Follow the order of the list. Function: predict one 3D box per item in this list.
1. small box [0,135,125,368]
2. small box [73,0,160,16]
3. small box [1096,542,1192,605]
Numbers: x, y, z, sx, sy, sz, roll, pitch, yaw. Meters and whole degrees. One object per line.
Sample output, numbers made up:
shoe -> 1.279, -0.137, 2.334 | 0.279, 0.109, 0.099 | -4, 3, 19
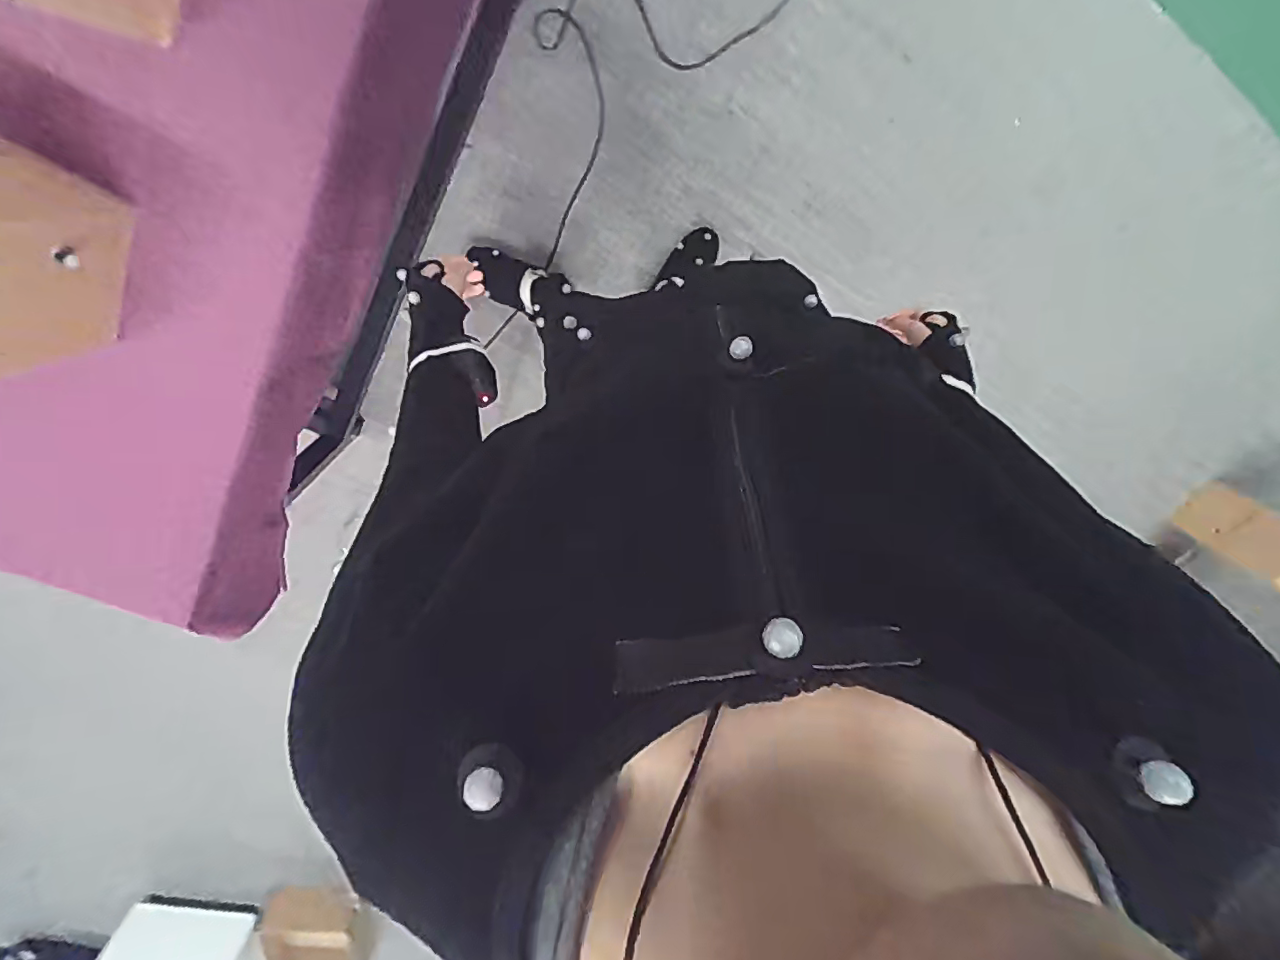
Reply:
small box -> -0.656, -0.235, 0.520 | 0.168, 0.176, 0.179 | 27, 114, -16
small box -> -0.479, -0.490, 0.394 | 0.179, 0.176, 0.168 | 29, 113, -17
small box -> 1.712, 0.341, 1.826 | 0.179, 0.176, 0.168 | 35, 110, -19
